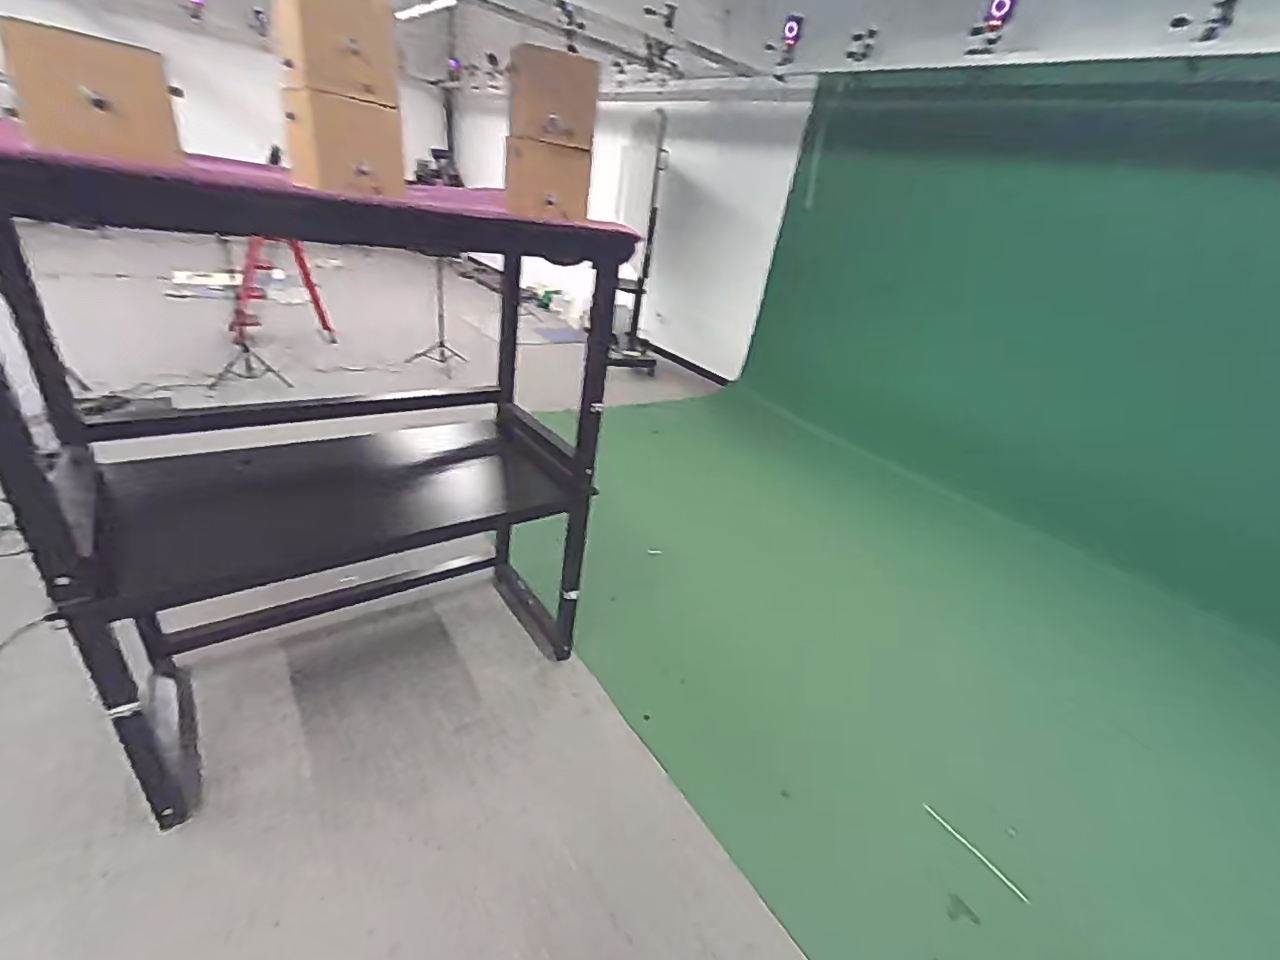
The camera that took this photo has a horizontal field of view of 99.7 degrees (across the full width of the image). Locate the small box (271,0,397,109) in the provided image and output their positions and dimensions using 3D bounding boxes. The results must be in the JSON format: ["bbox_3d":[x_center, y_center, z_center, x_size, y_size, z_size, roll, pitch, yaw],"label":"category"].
[{"bbox_3d":[-0.559,-0.799,0.995,0.168,0.176,0.179,-14,36,-38],"label":"small box"}]

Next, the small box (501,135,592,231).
[{"bbox_3d":[-0.229,-0.701,1.282,0.168,0.176,0.179,-6,33,-28],"label":"small box"}]

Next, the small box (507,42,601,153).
[{"bbox_3d":[-0.199,-0.838,1.199,0.168,0.176,0.179,-5,34,-24],"label":"small box"}]
